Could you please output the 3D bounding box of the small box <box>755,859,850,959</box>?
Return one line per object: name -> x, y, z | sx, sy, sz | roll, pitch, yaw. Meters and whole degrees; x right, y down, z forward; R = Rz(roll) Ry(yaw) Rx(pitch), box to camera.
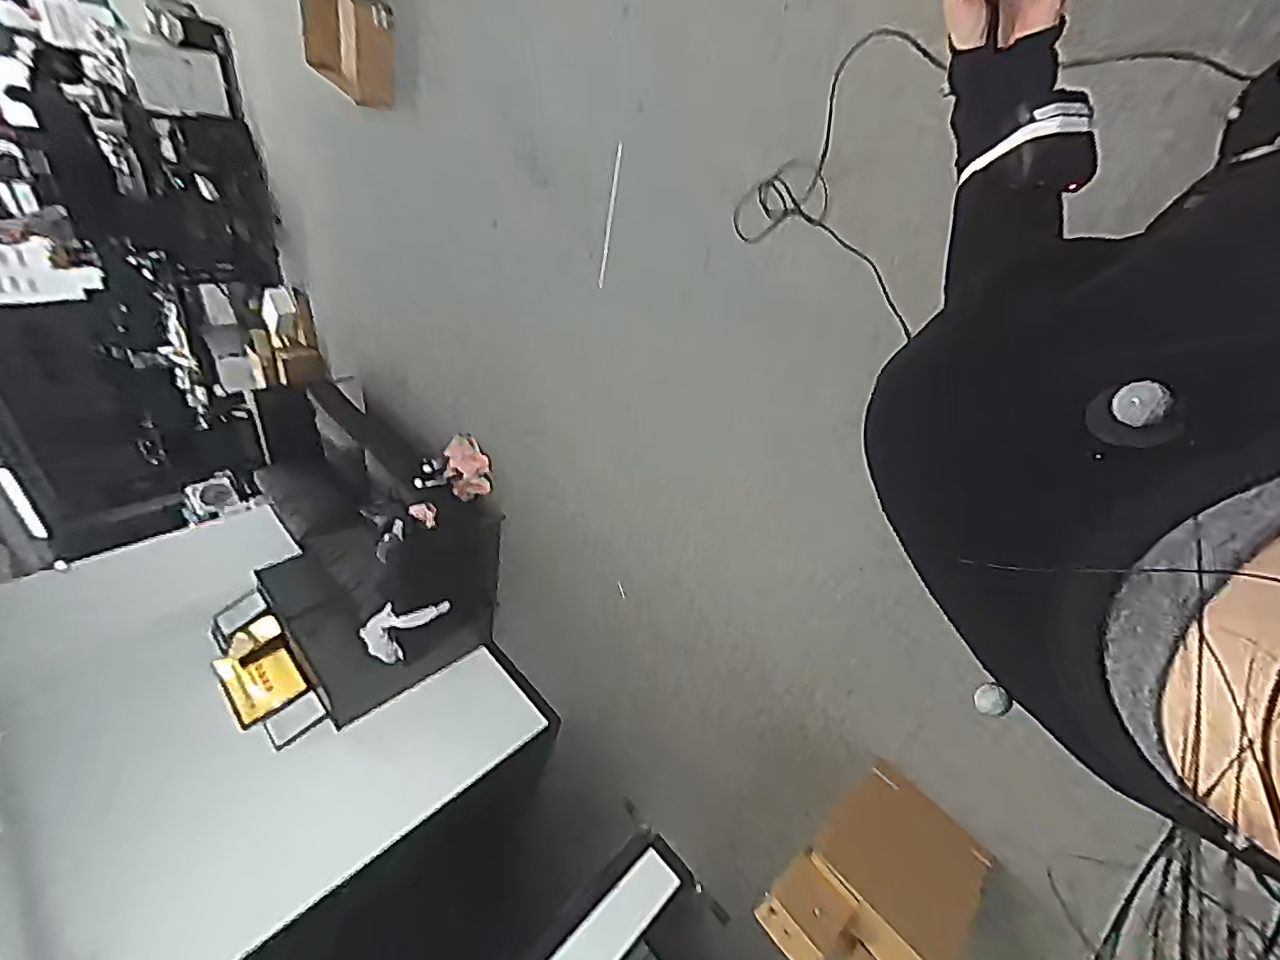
small box -> 0.475, 1.263, 1.572 | 0.179, 0.176, 0.168 | 40, 131, 27
